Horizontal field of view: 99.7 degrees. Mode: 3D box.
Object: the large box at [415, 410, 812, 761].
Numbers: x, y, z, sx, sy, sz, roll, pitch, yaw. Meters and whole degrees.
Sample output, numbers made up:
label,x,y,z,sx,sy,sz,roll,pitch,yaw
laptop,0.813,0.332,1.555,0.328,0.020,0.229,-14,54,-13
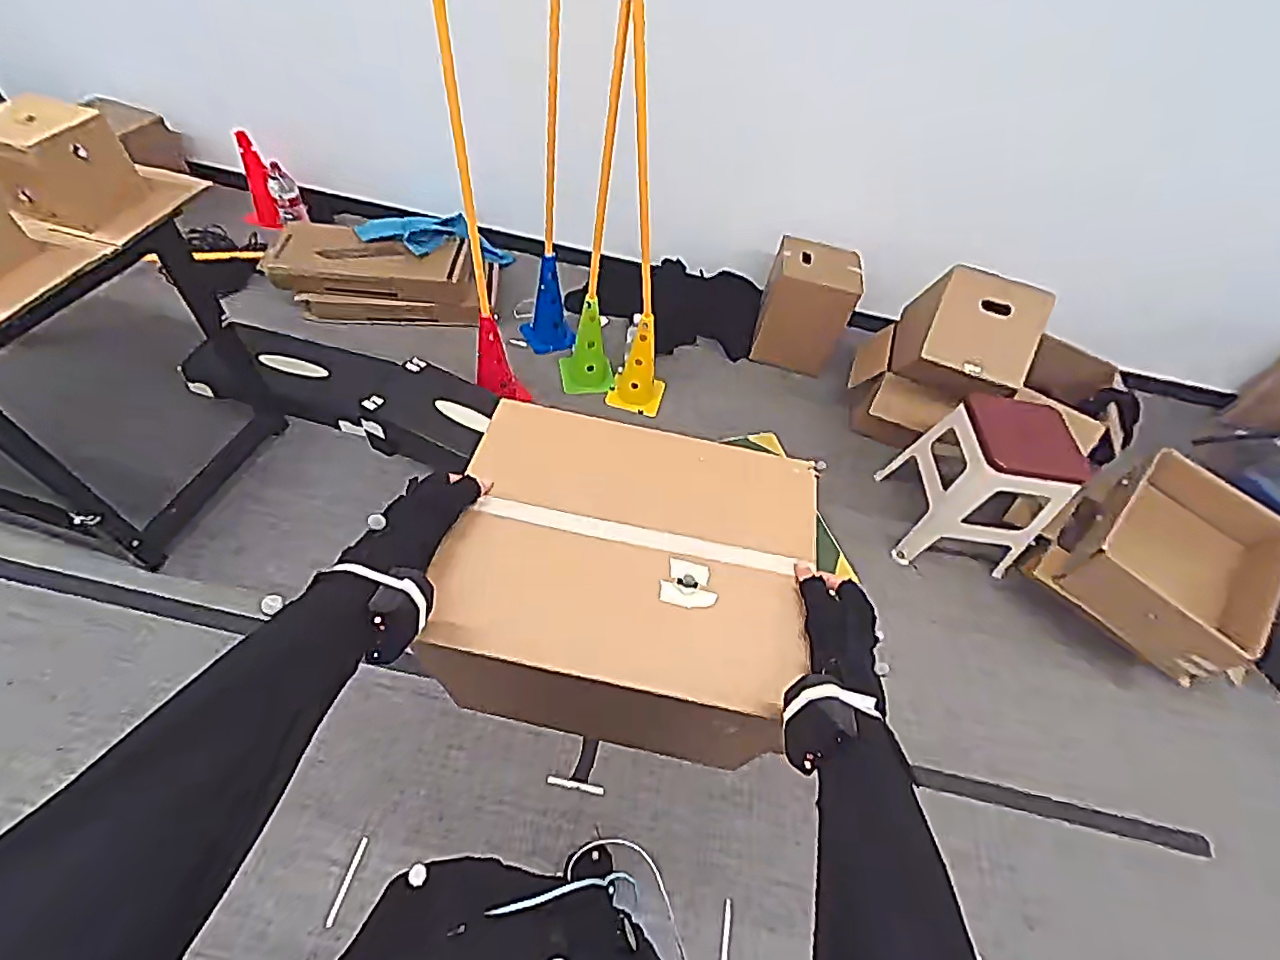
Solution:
label,x,y,z,sx,sy,sz,roll,pitch,yaw
large box,-0.019,0.153,0.730,0.408,0.320,0.320,12,56,2
